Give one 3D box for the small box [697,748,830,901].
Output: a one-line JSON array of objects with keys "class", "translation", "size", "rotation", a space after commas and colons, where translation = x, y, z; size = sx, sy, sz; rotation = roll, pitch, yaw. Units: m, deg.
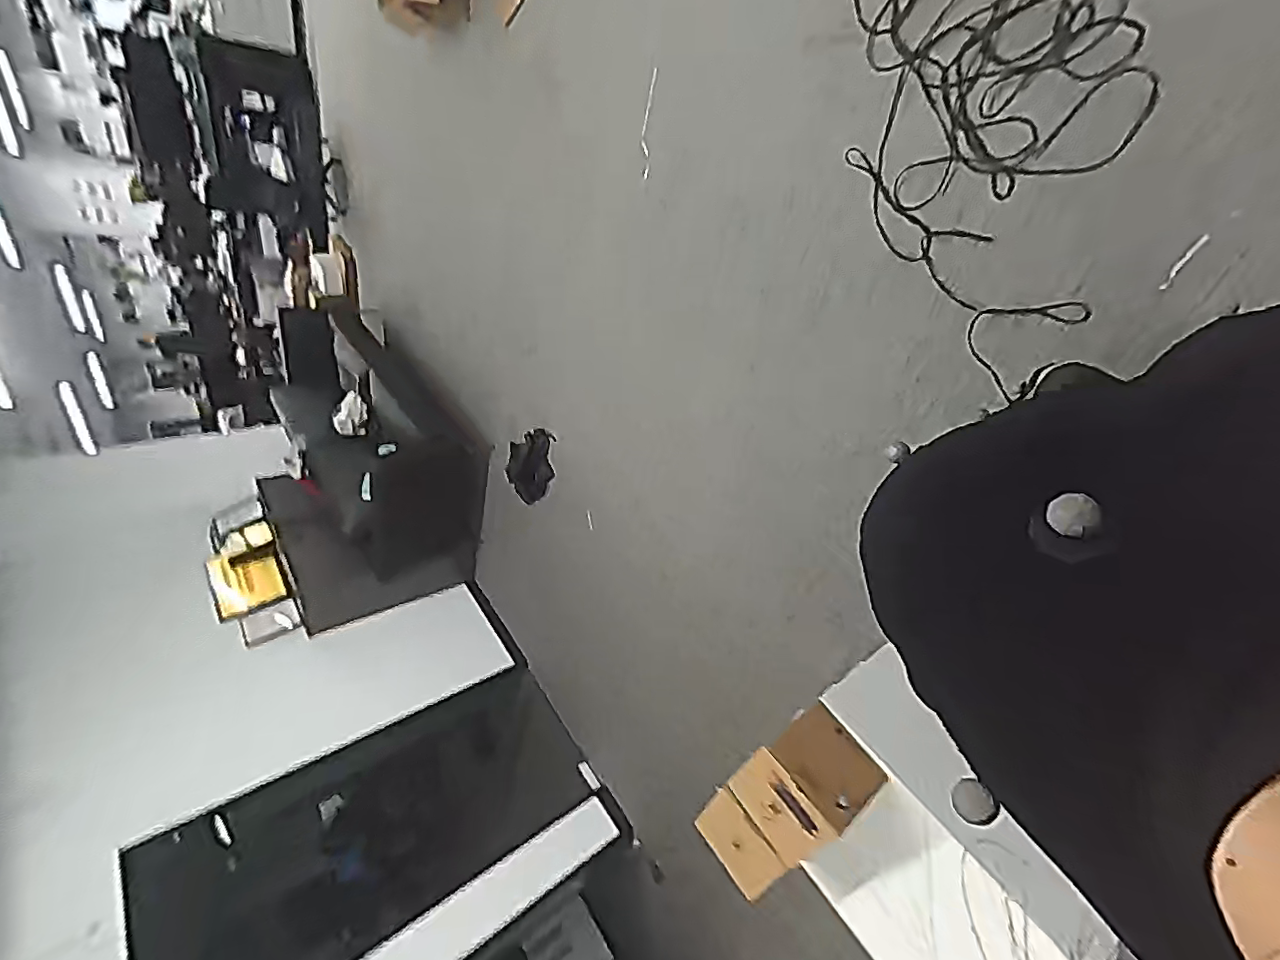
[{"class": "small box", "translation": [0.249, 0.678, 1.080], "size": [0.168, 0.176, 0.179], "rotation": [46, 134, 33]}]
